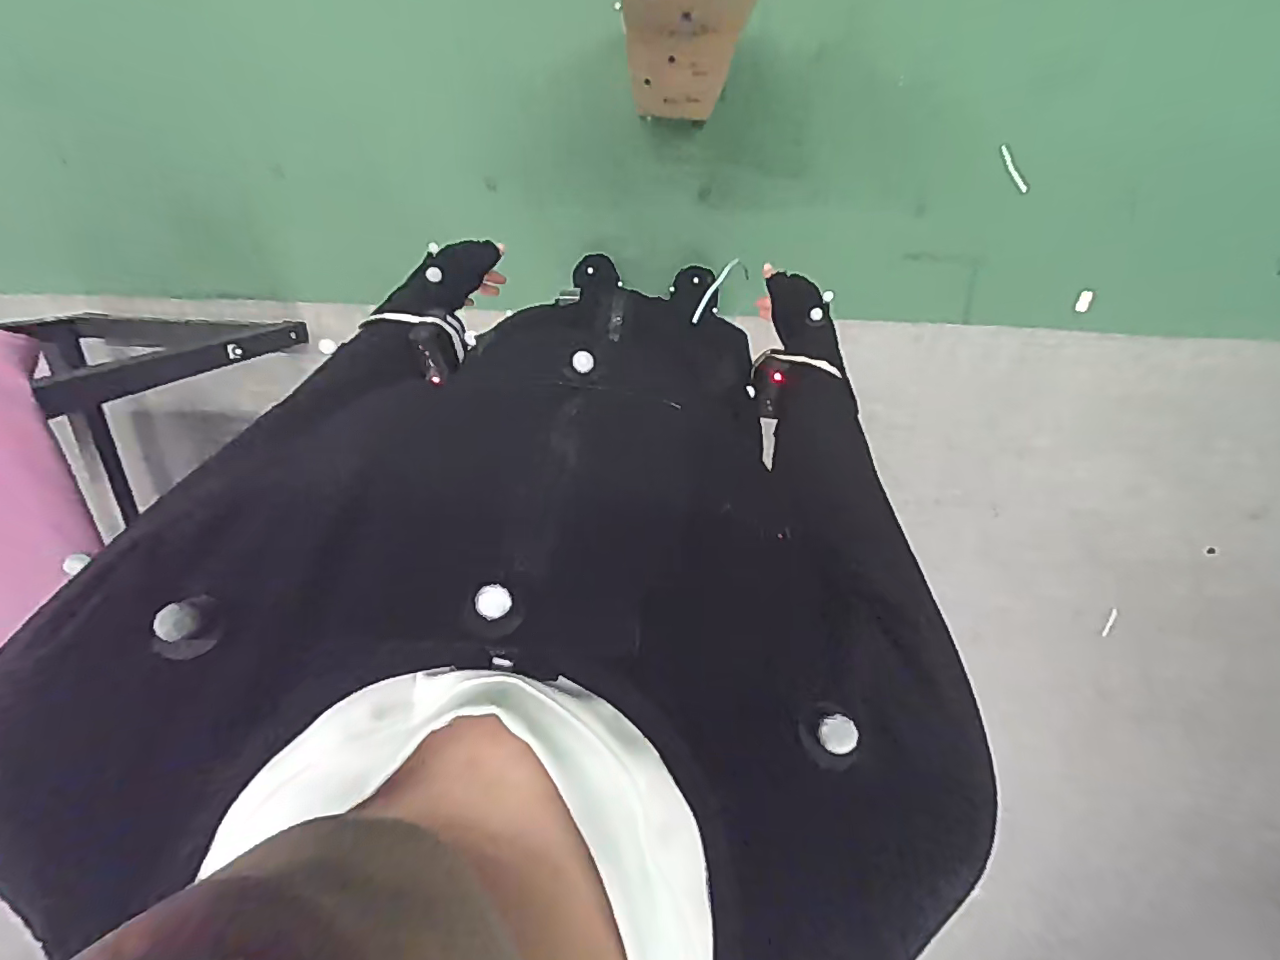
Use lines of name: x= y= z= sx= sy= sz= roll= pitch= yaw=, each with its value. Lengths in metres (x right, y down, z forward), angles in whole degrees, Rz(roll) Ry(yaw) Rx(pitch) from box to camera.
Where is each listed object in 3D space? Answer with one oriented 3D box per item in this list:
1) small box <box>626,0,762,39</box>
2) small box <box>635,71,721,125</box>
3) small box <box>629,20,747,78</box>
small box: x=0.064 y=-0.657 z=0.635 sx=0.168 sy=0.176 sz=0.179 roll=0 pitch=112 yaw=2
small box: x=0.080 y=-0.838 z=1.092 sx=0.168 sy=0.176 sz=0.179 roll=3 pitch=112 yaw=0
small box: x=0.067 y=-0.718 z=0.788 sx=0.168 sy=0.176 sz=0.179 roll=0 pitch=113 yaw=1
